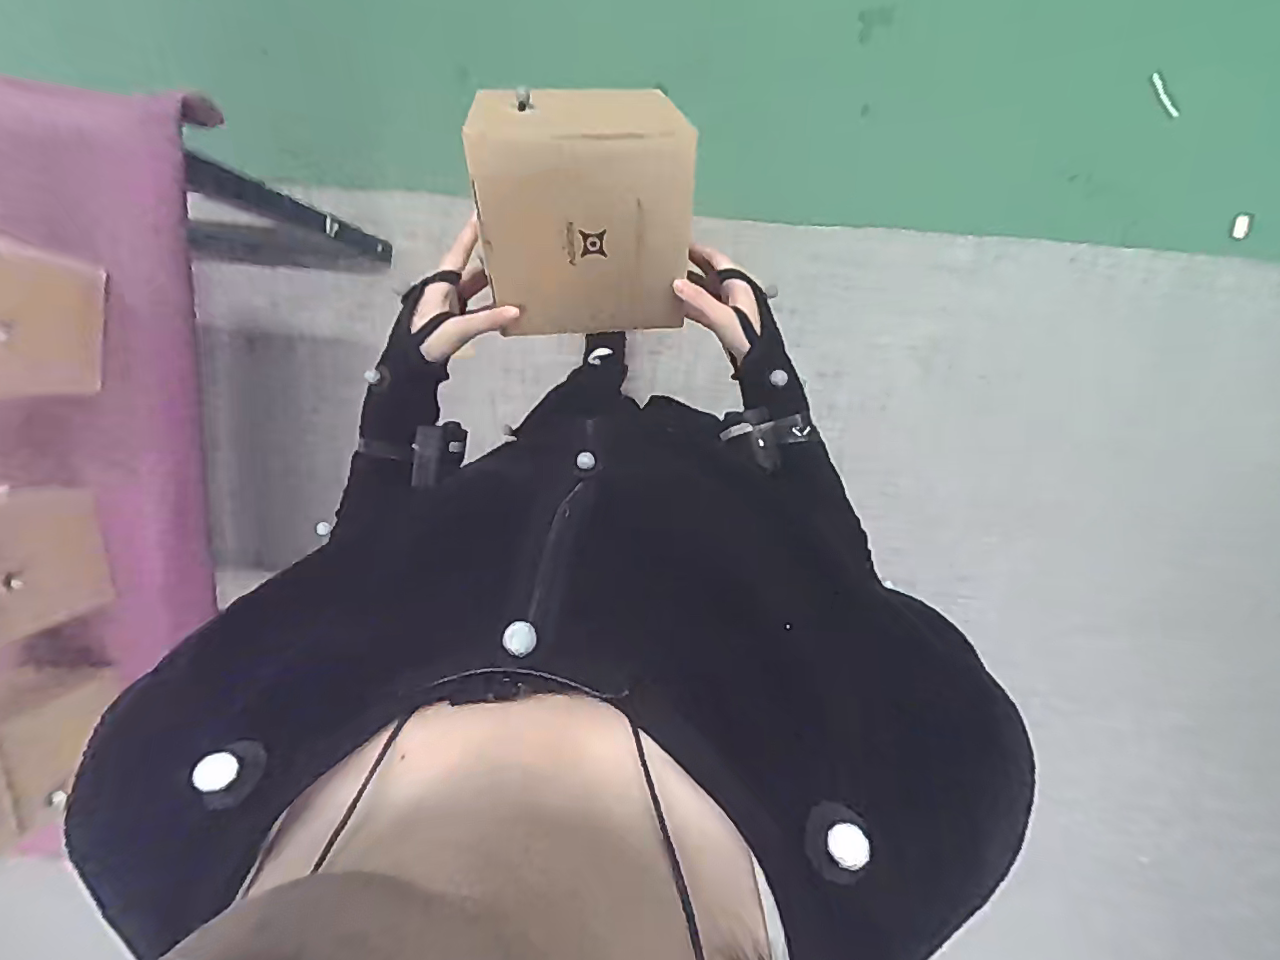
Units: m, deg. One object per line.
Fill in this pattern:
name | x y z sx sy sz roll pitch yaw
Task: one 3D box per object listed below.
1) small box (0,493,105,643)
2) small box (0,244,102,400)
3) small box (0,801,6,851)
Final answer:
small box | -0.897 0.121 0.741 0.168 0.176 0.179 -1 100 2
small box | -0.833 -0.207 0.675 0.168 0.176 0.179 16 103 0
small box | -0.919 0.433 0.633 0.179 0.176 0.168 -2 100 2
